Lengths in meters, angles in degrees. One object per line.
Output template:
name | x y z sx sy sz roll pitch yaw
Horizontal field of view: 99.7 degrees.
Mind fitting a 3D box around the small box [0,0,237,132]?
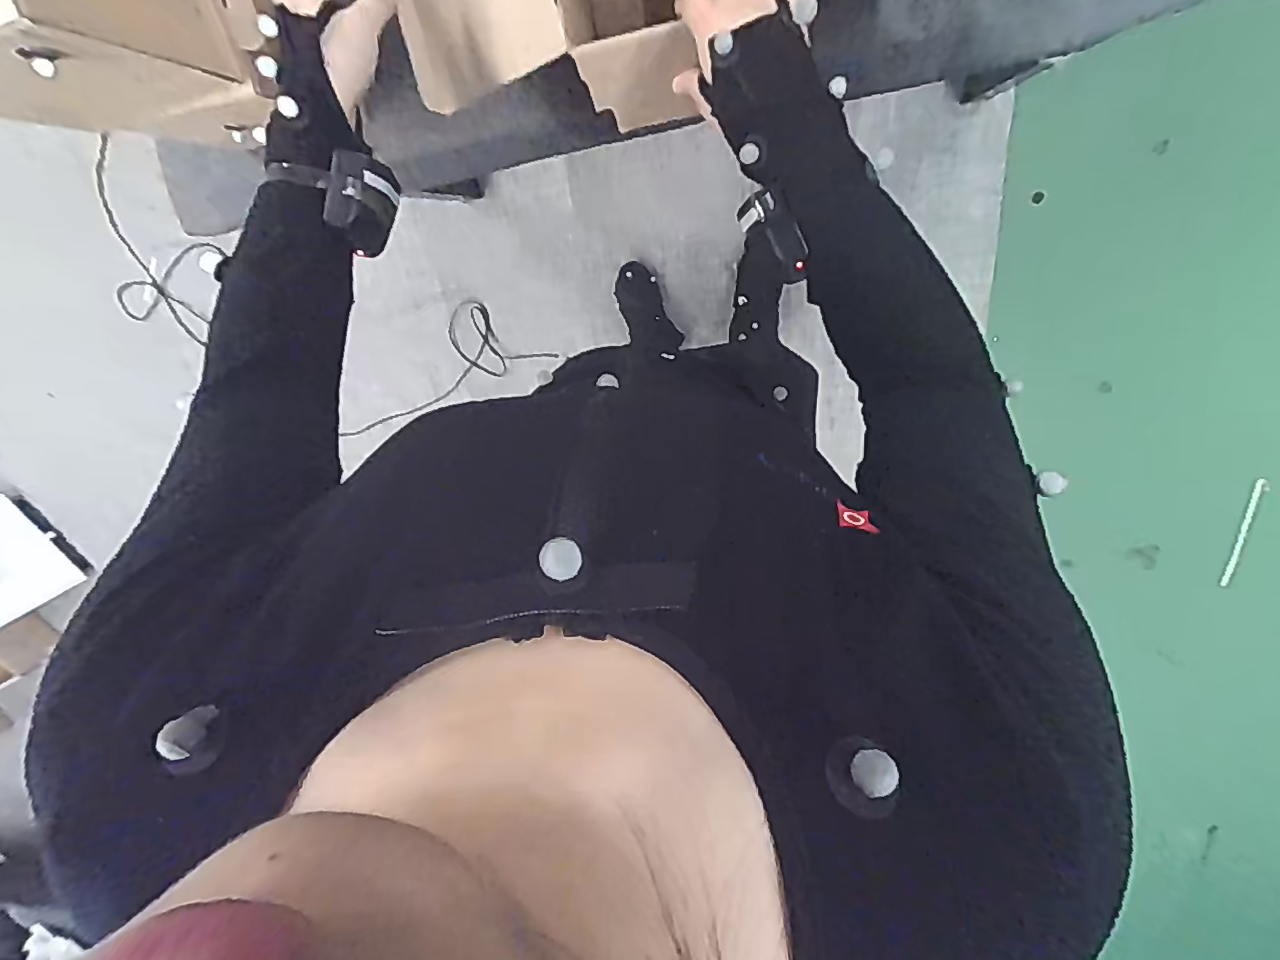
small box | -0.456 -0.374 0.390 0.179 0.176 0.168 -7 114 12

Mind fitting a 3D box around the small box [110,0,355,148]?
small box | -0.416 -0.441 0.533 0.179 0.176 0.168 -3 115 11
